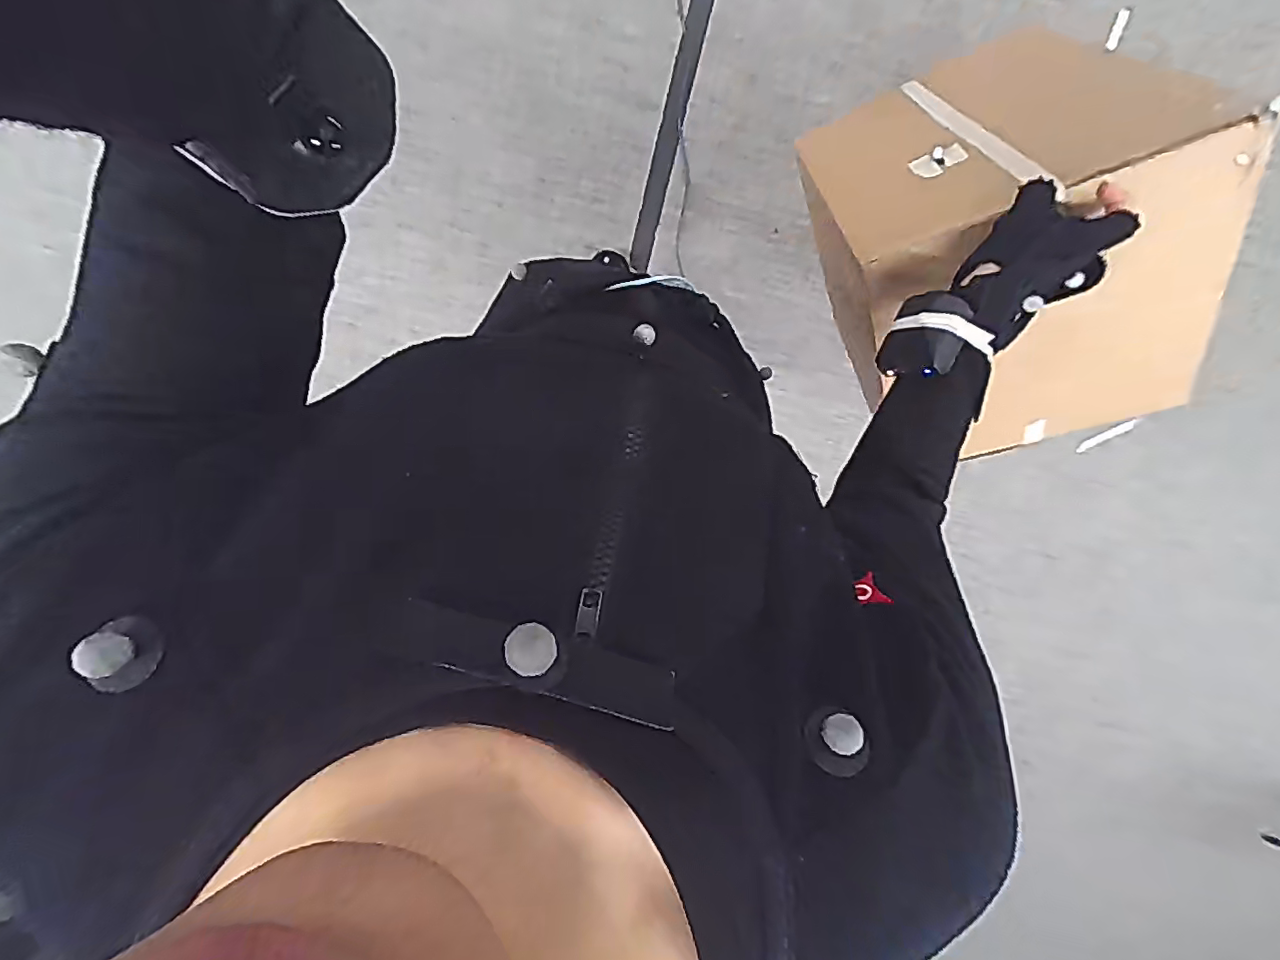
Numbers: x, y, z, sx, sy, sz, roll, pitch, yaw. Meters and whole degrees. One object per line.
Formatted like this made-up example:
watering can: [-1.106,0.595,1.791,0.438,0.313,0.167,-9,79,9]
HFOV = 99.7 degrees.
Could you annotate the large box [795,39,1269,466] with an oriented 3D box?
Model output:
large box: [0.421,-0.290,0.707,0.320,0.408,0.320,-16,135,18]
